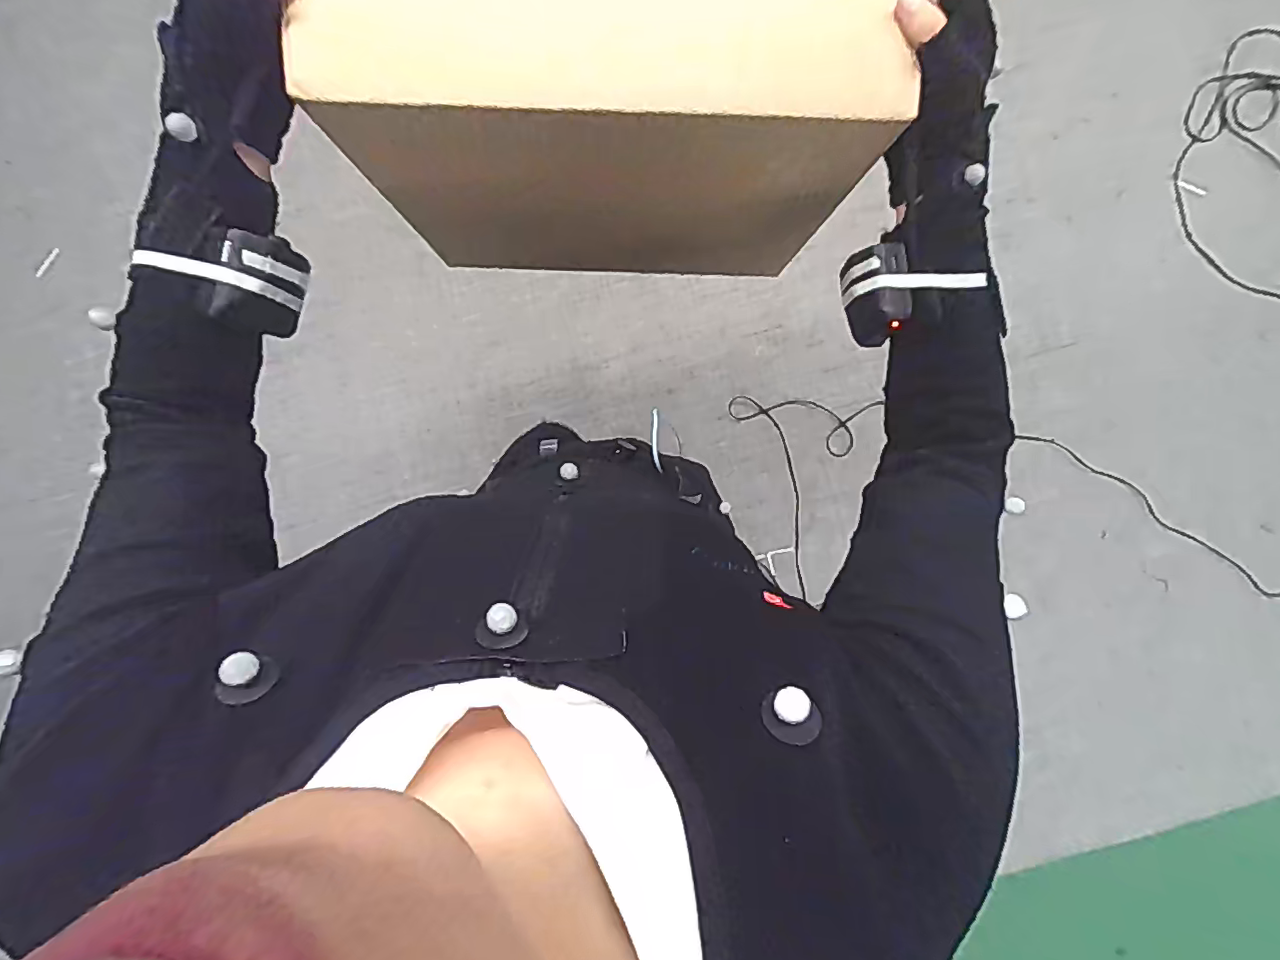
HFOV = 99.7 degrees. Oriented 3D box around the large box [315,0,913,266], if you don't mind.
[{"bbox_3d":[-0.021,-0.406,0.503,0.408,0.320,0.320,0,93,-3],"label":"large box"}]
